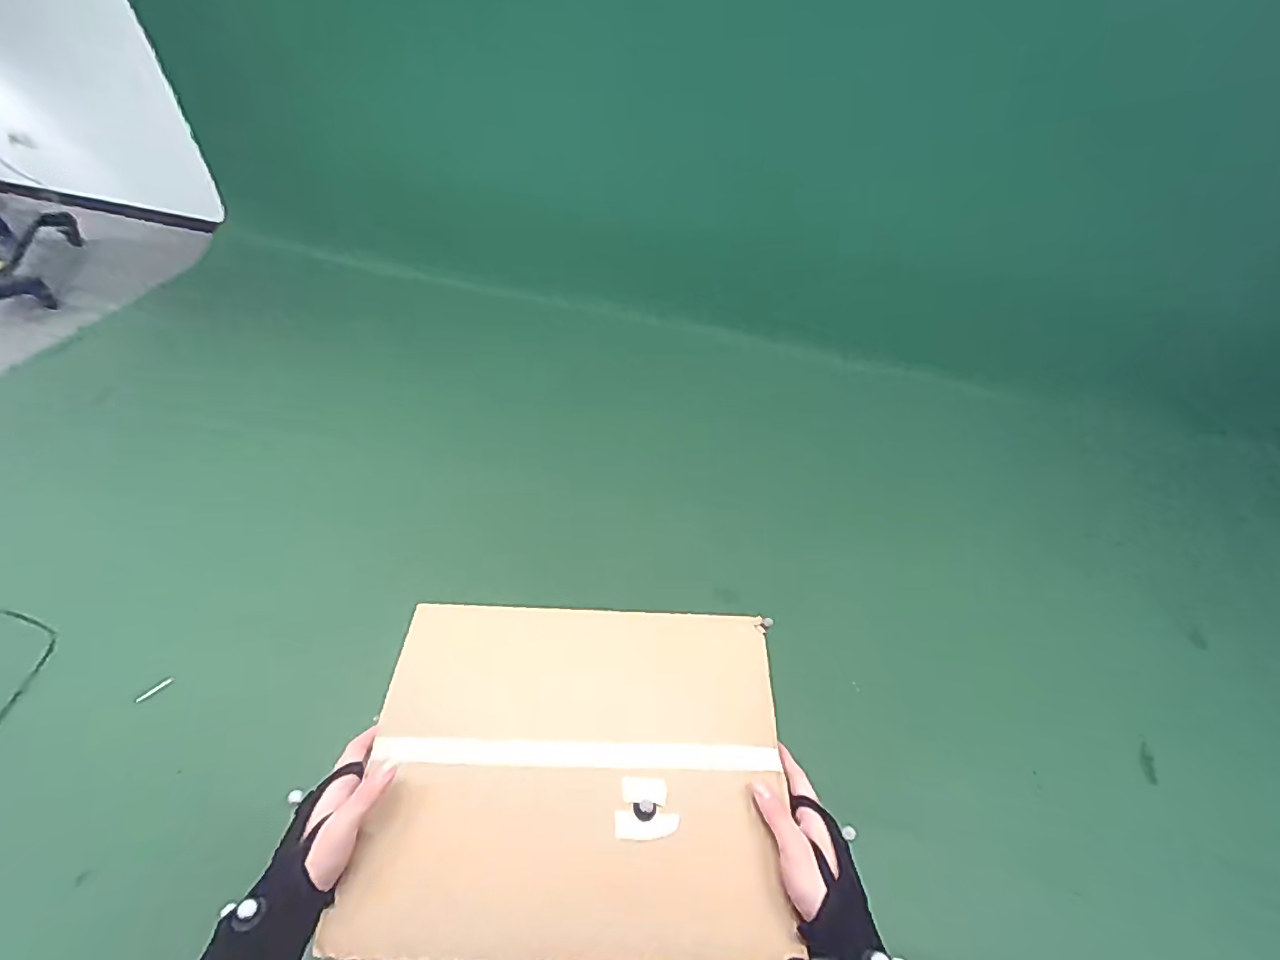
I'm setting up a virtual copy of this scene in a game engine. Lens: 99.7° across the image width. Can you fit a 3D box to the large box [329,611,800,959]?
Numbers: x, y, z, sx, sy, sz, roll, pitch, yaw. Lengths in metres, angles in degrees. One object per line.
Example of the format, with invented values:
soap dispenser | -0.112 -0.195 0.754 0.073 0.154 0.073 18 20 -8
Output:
large box | -0.070 0.375 0.659 0.408 0.320 0.320 3 50 -2
